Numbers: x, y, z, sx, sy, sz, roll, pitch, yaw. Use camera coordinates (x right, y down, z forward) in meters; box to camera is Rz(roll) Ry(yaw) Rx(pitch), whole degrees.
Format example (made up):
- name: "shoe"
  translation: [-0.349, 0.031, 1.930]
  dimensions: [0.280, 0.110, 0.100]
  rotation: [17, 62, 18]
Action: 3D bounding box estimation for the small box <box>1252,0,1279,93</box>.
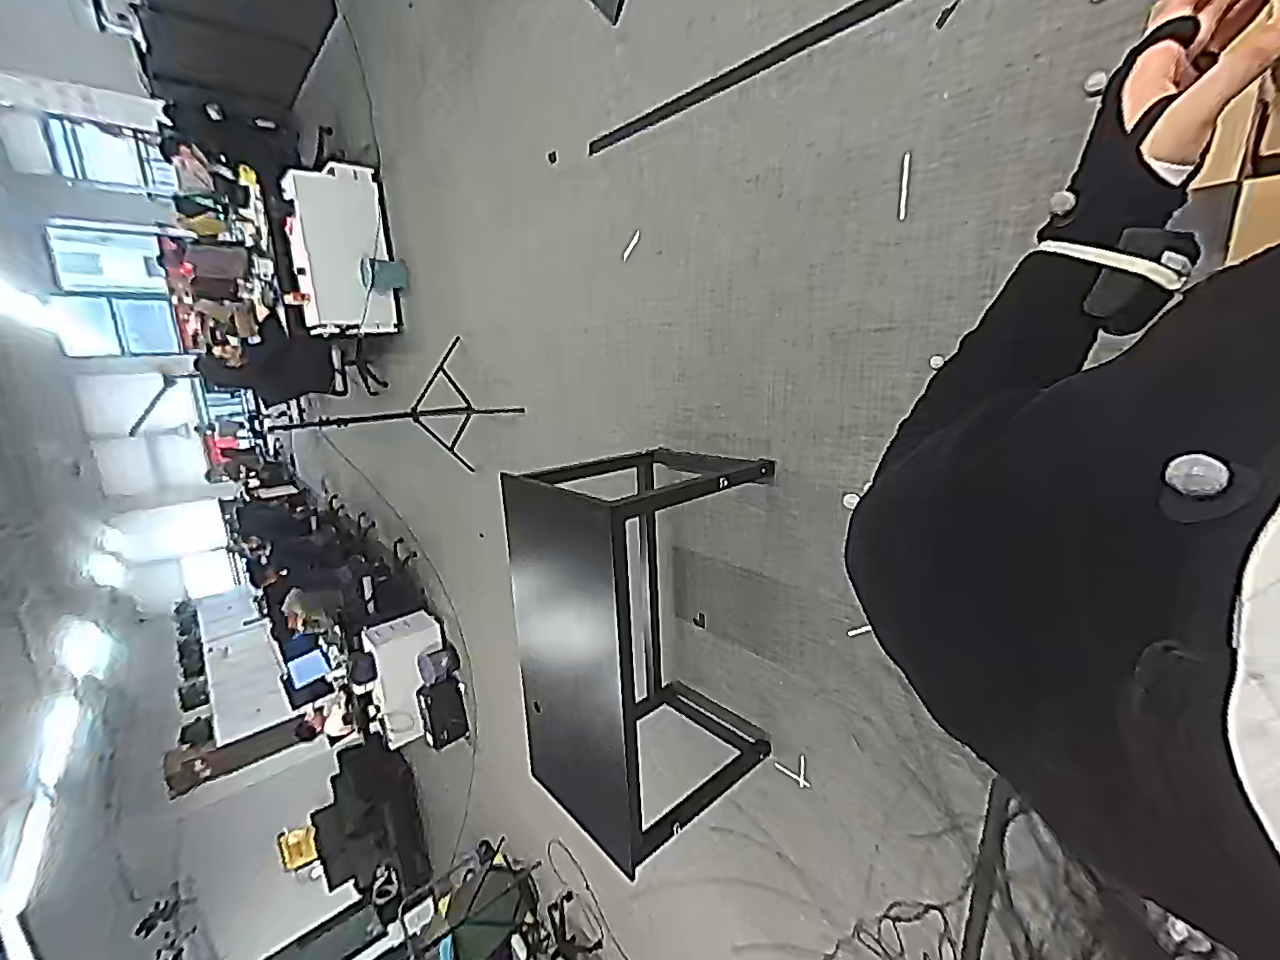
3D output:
- name: "small box"
  translation: [0.454, -0.341, 0.282]
  dimensions: [0.179, 0.176, 0.168]
  rotation: [0, 107, 51]
